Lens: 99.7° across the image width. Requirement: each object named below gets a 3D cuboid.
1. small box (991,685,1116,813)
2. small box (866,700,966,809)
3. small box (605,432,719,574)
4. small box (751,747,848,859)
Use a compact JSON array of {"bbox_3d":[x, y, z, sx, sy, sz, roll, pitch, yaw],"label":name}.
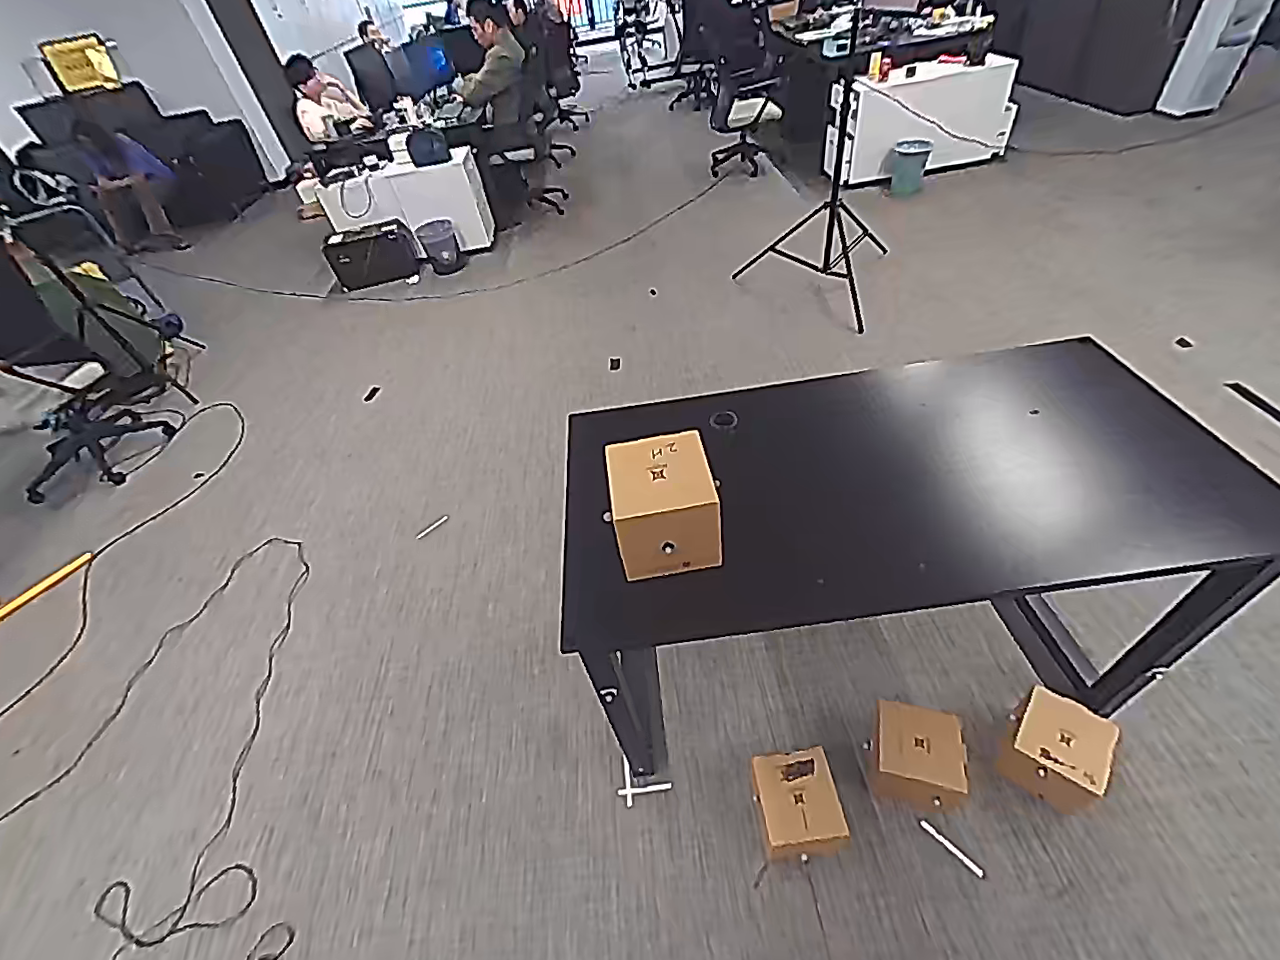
[{"bbox_3d":[0.937,0.616,1.237,0.168,0.176,0.179,26,56,31],"label":"small box"},{"bbox_3d":[0.637,0.647,1.268,0.179,0.176,0.168,6,47,18],"label":"small box"},{"bbox_3d":[0.039,0.047,0.935,0.168,0.176,0.179,-10,45,0],"label":"small box"},{"bbox_3d":[0.352,0.737,1.232,0.168,0.176,0.179,-9,46,2],"label":"small box"}]
